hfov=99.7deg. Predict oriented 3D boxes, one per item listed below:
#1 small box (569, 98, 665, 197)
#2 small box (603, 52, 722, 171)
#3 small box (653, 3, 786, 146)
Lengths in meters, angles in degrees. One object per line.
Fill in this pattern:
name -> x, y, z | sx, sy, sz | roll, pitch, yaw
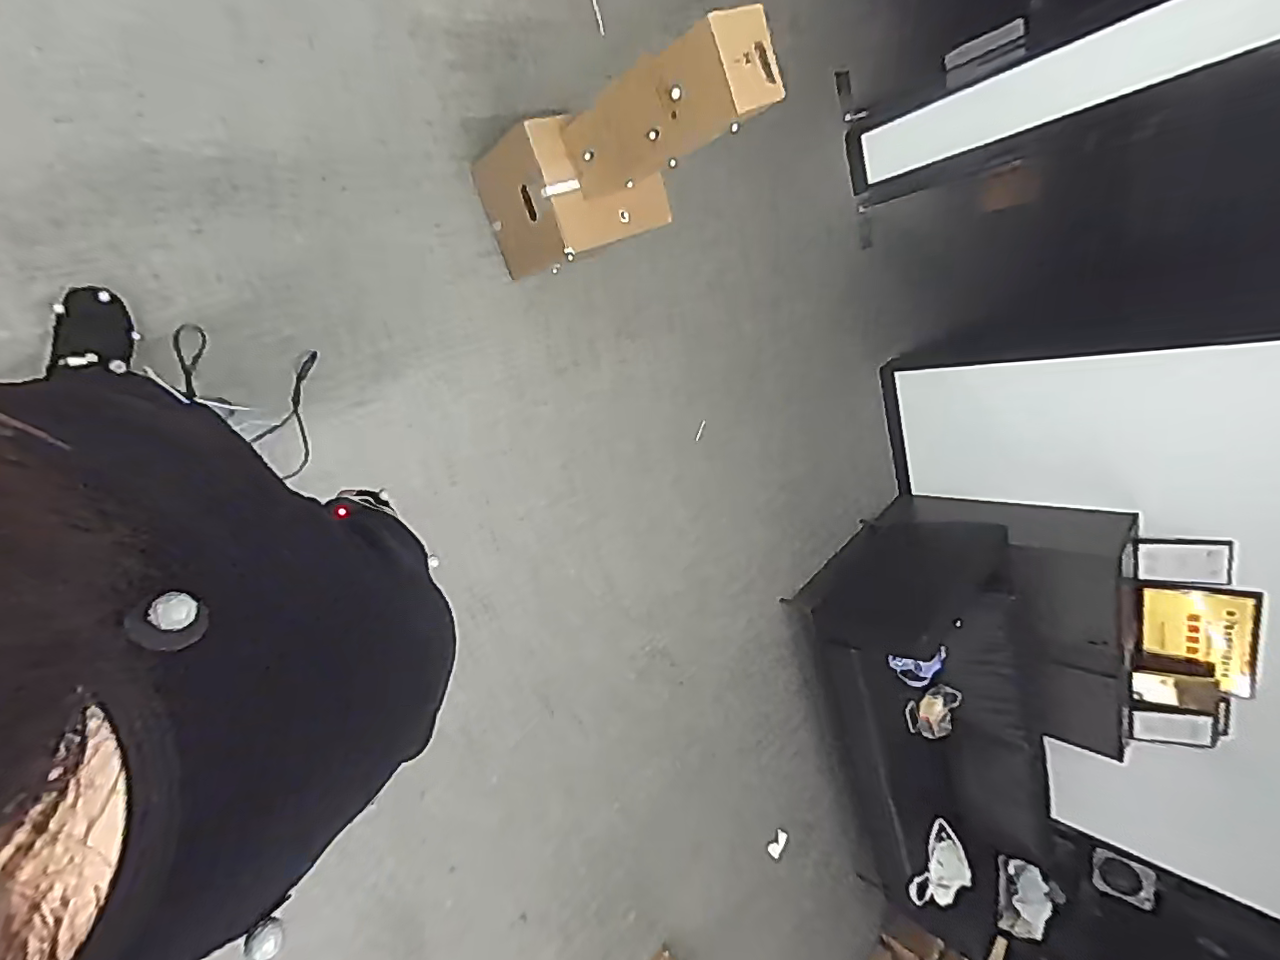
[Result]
small box -> -0.053, -0.828, 1.339 | 0.179, 0.176, 0.168 | -37, 115, -31
small box -> 0.049, -0.817, 1.209 | 0.168, 0.176, 0.179 | -38, 115, -32
small box -> 0.158, -0.808, 1.087 | 0.179, 0.176, 0.168 | -40, 116, -30
